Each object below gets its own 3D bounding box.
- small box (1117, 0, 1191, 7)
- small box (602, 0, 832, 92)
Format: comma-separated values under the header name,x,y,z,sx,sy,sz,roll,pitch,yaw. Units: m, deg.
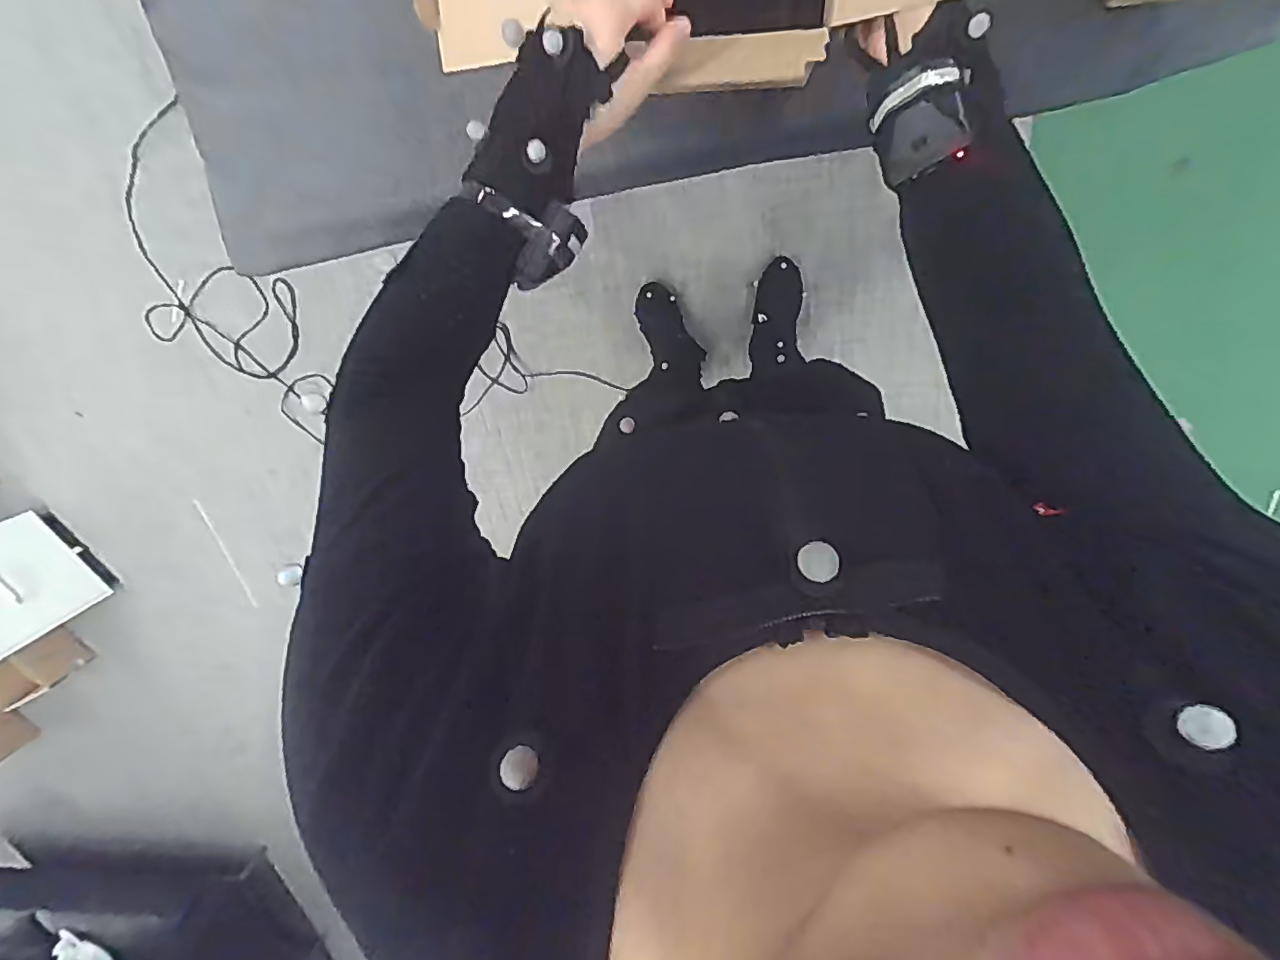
name,x,y,z,sx,sy,sz,roll,pitch,yaw
small box,0.486,-0.466,0.370,0.179,0.176,0.168,1,112,10
small box,0.070,-0.445,0.457,0.179,0.176,0.168,4,115,8
